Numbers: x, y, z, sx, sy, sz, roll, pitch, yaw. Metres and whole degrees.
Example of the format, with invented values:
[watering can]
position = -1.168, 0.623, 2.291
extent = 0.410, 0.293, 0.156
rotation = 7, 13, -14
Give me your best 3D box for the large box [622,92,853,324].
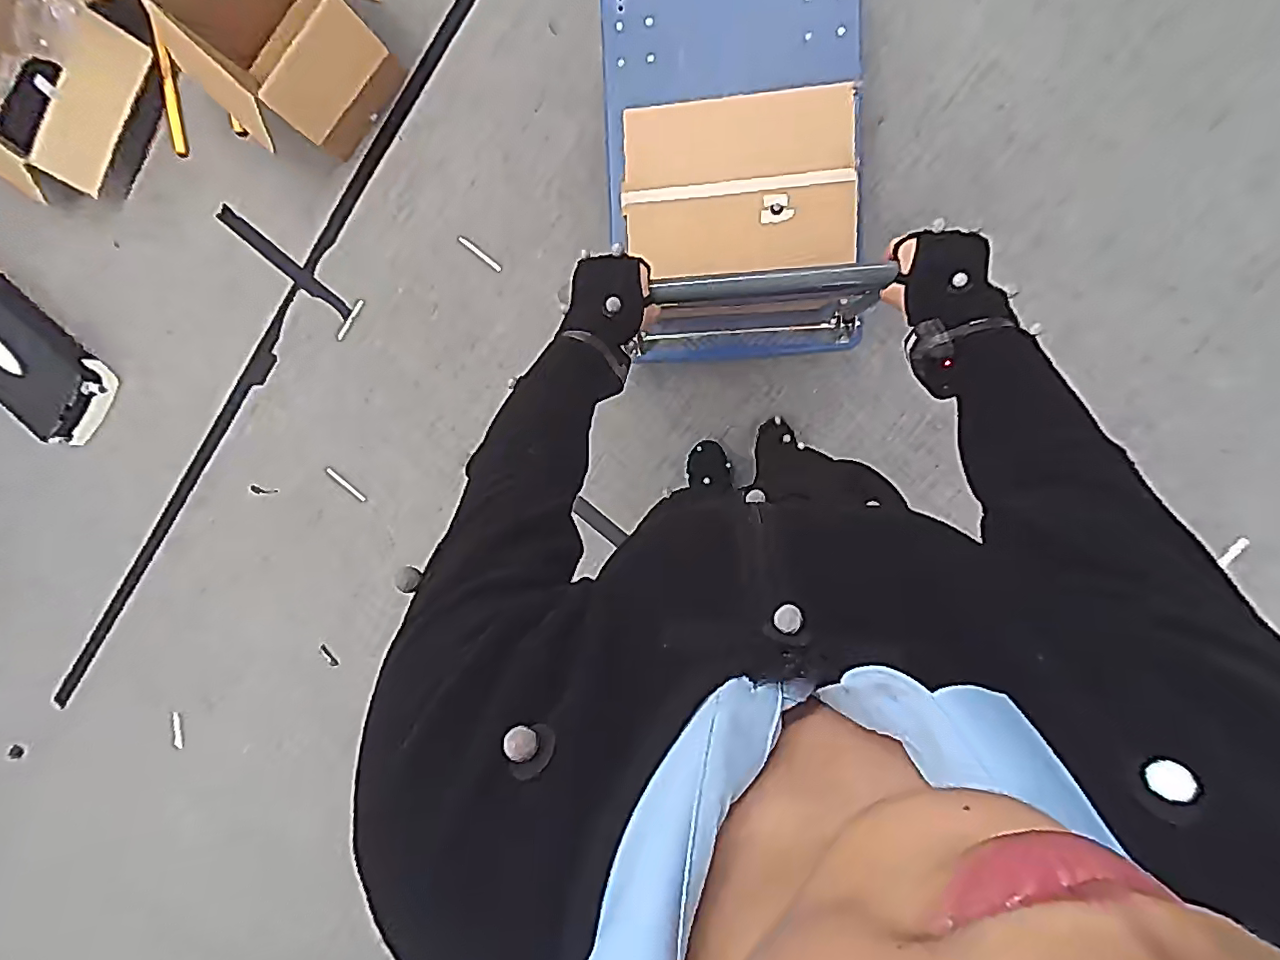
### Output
[large box]
position = 0.188, -0.521, 1.113
extent = 0.408, 0.320, 0.320
rotation = -2, 95, 7
